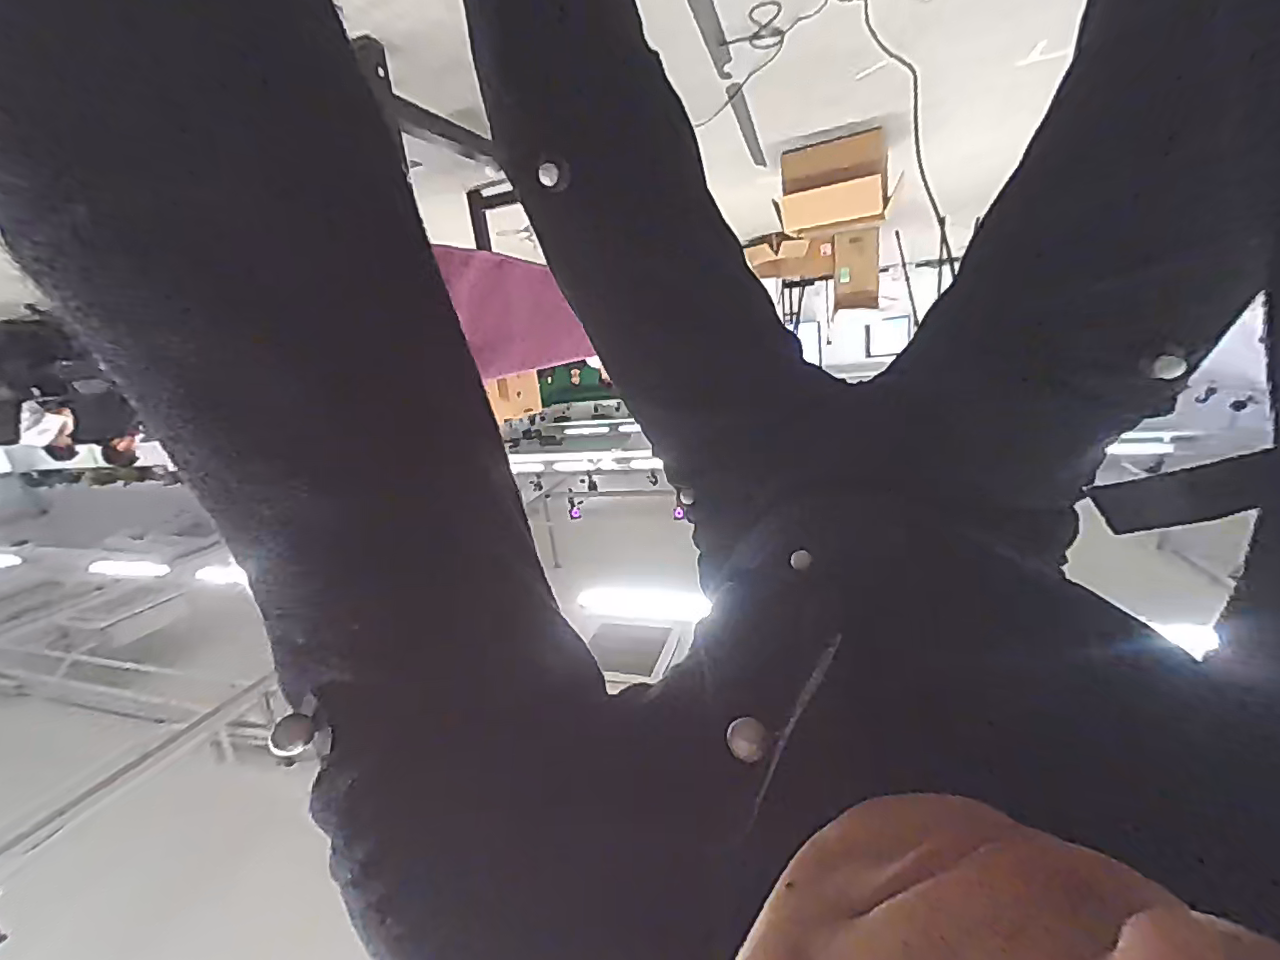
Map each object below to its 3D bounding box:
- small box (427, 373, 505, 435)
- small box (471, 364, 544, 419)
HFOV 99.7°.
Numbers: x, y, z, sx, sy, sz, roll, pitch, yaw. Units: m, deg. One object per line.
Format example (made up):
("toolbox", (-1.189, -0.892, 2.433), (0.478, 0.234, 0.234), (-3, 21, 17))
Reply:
("small box", (-0.551, -0.240, 1.693), (0.179, 0.176, 0.168), (-2, -162, 18))
("small box", (-0.470, -0.316, 1.913), (0.179, 0.176, 0.168), (2, -162, 27))
